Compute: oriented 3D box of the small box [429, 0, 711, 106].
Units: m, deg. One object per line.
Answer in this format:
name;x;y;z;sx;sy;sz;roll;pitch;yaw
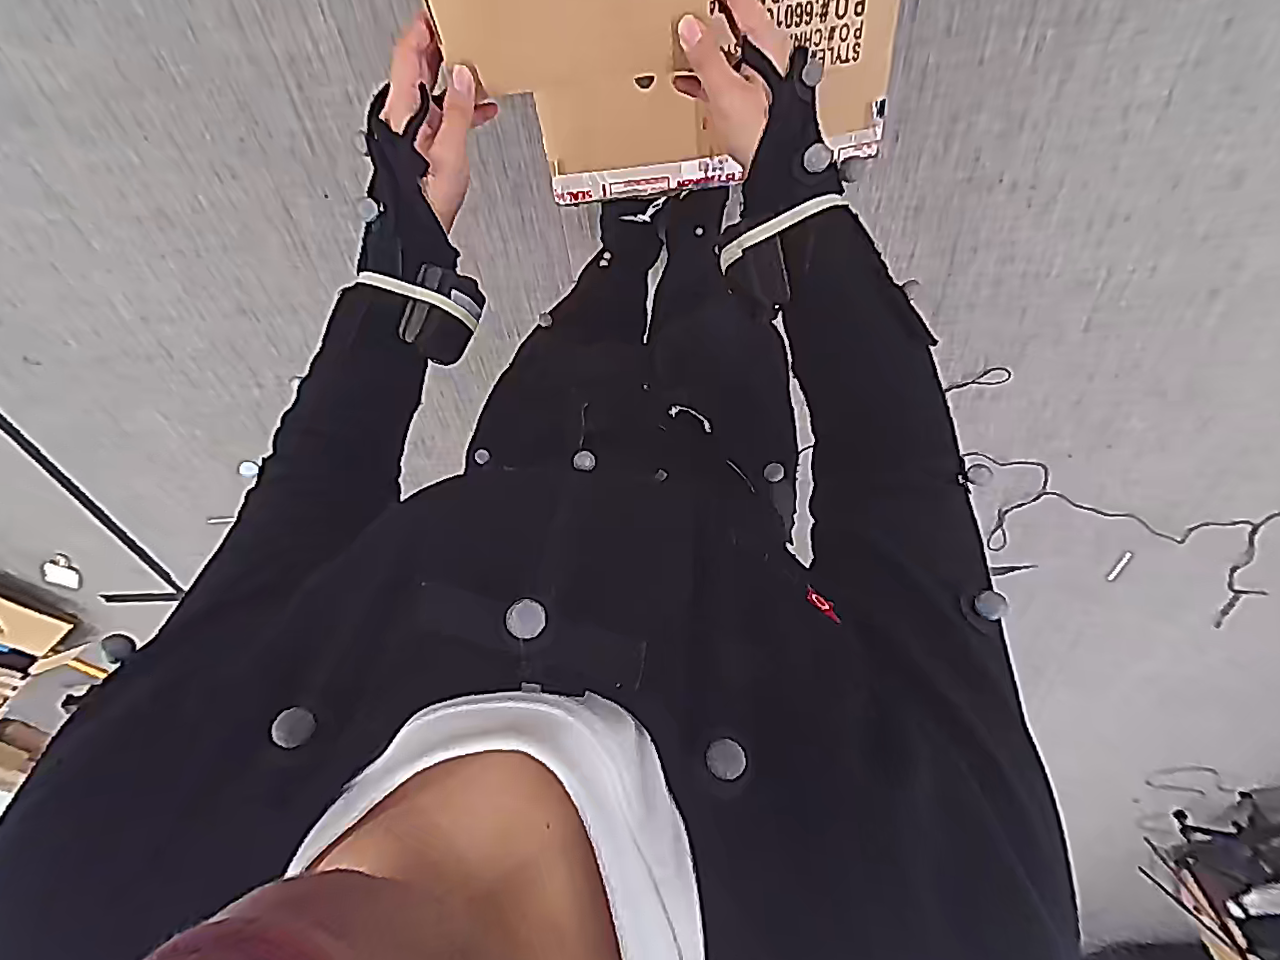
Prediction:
small box;-0.047;-0.380;0.357;0.179;0.176;0.168;-3;141;6
